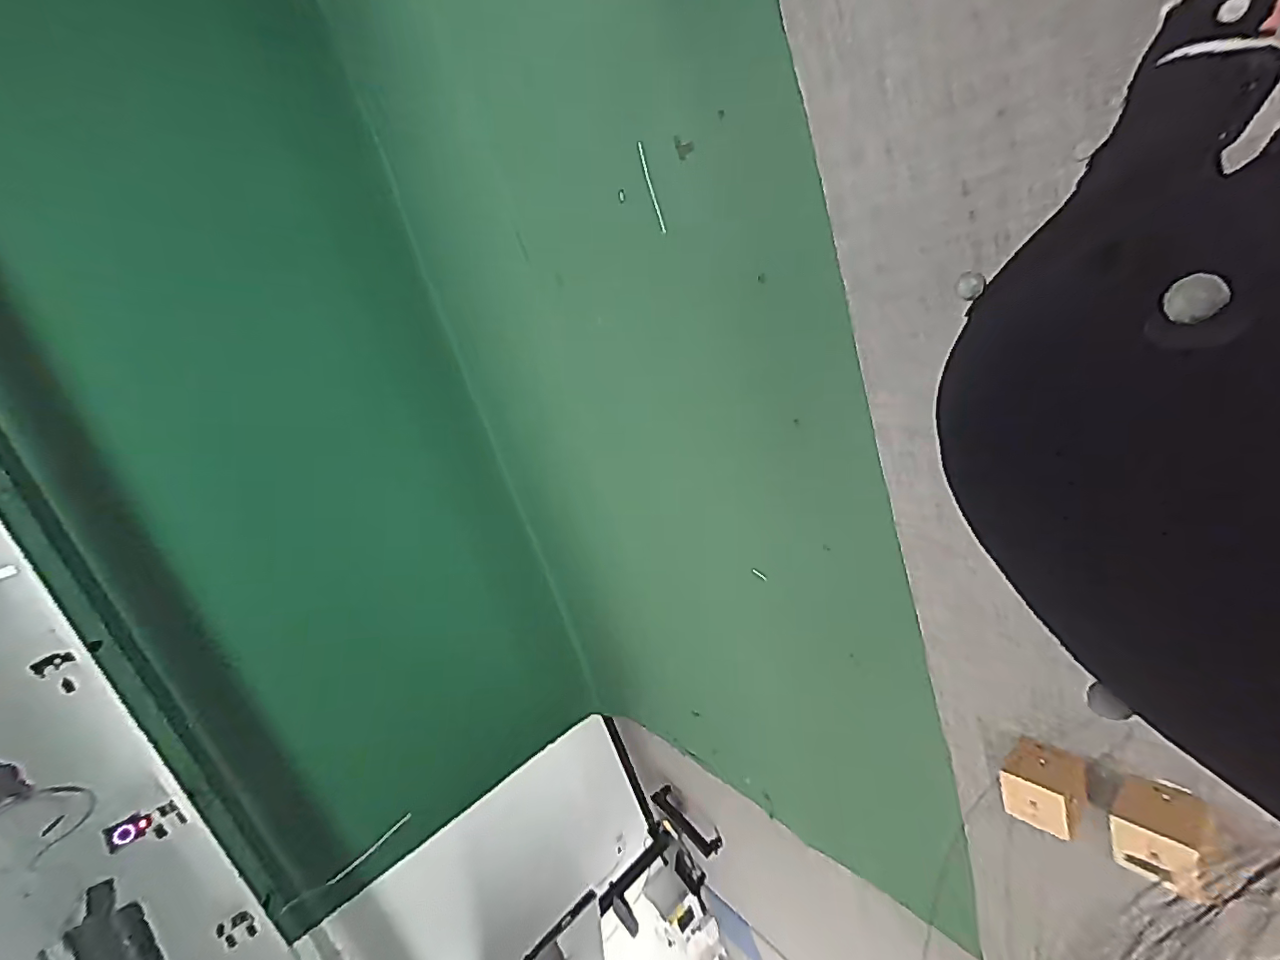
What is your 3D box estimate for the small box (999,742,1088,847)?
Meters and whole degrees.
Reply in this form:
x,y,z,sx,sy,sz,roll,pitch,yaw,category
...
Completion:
x,y,z,sx,sy,sz,roll,pitch,yaw,category
1.211,0.930,1.621,0.168,0.176,0.179,4,116,55,small box
